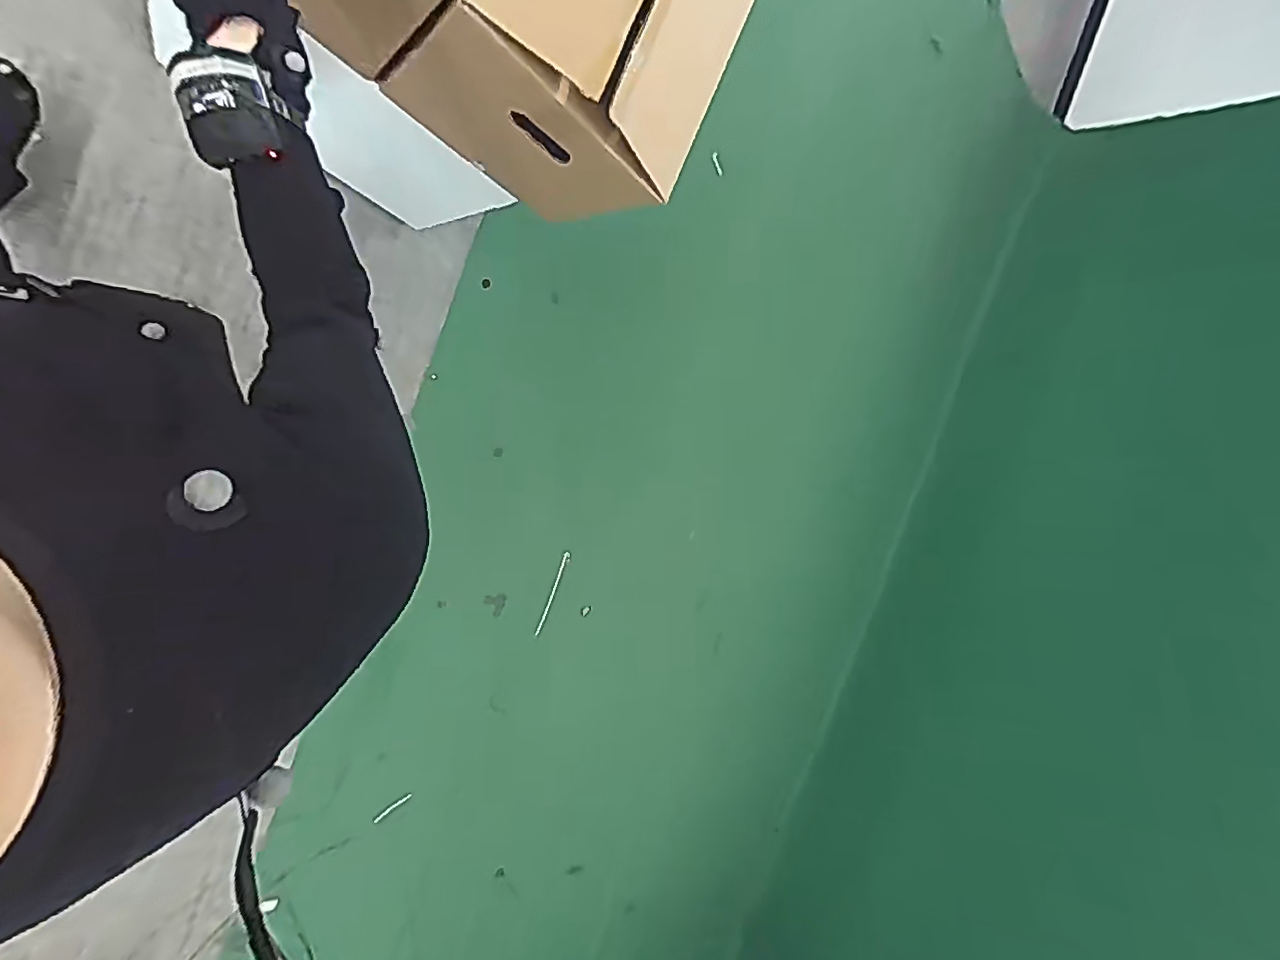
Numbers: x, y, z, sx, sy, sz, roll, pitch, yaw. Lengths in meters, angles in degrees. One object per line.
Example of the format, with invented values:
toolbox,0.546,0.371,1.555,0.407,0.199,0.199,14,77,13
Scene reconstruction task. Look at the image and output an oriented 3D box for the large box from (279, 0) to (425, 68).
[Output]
large box,-0.303,-0.739,0.521,0.320,0.320,0.408,24,88,-42
